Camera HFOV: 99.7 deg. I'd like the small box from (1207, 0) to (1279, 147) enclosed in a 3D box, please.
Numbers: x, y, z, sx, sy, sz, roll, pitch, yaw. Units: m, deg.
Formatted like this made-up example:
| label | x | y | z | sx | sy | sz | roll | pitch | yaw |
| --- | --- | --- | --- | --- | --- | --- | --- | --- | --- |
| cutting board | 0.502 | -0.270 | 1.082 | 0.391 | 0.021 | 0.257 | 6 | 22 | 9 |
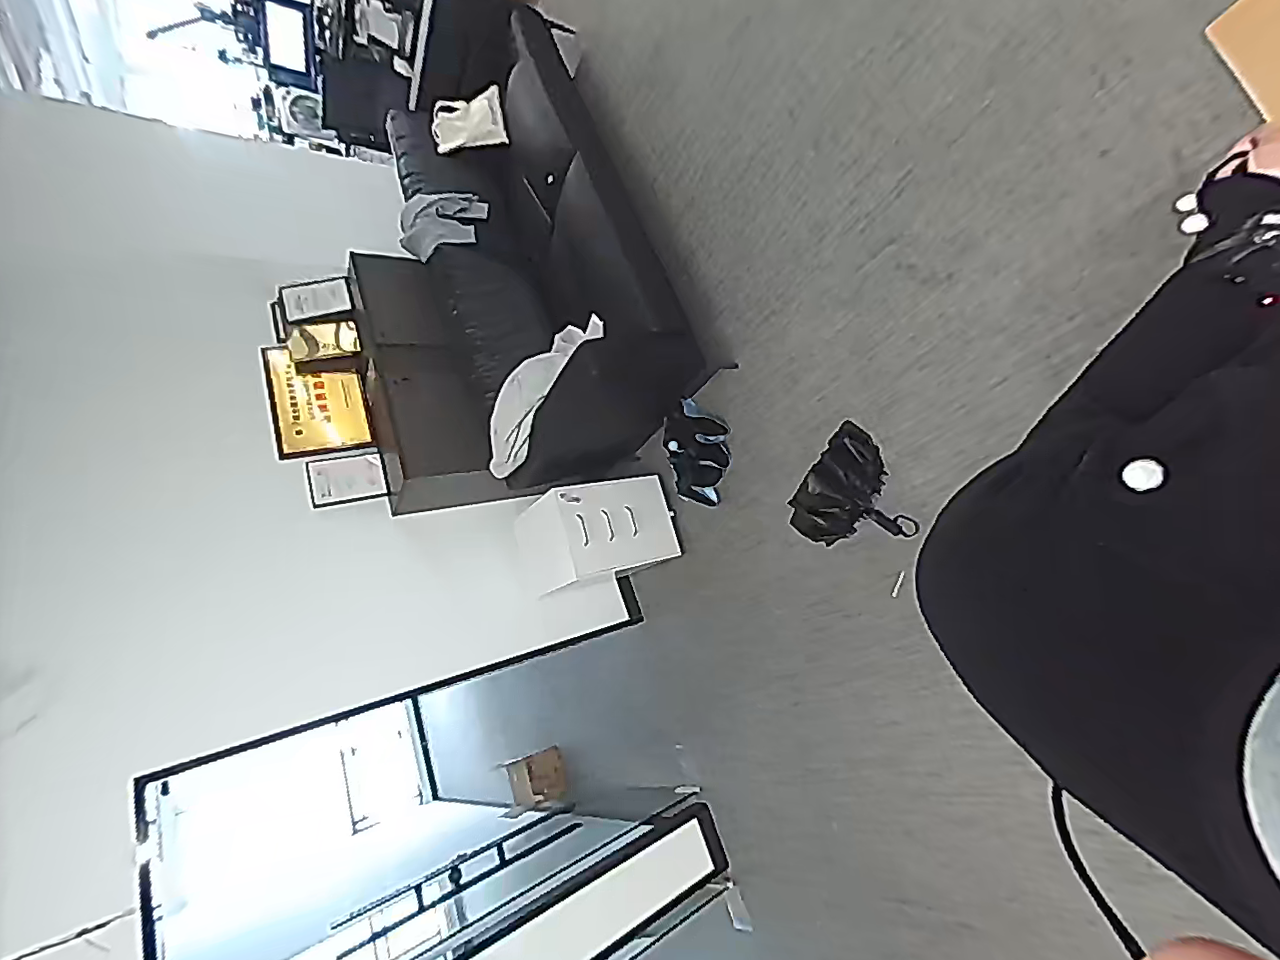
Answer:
| label | x | y | z | sx | sy | sz | roll | pitch | yaw |
| --- | --- | --- | --- | --- | --- | --- | --- | --- | --- |
| small box | 0.651 | -0.370 | 0.441 | 0.168 | 0.176 | 0.179 | 128 | 138 | -62 |
